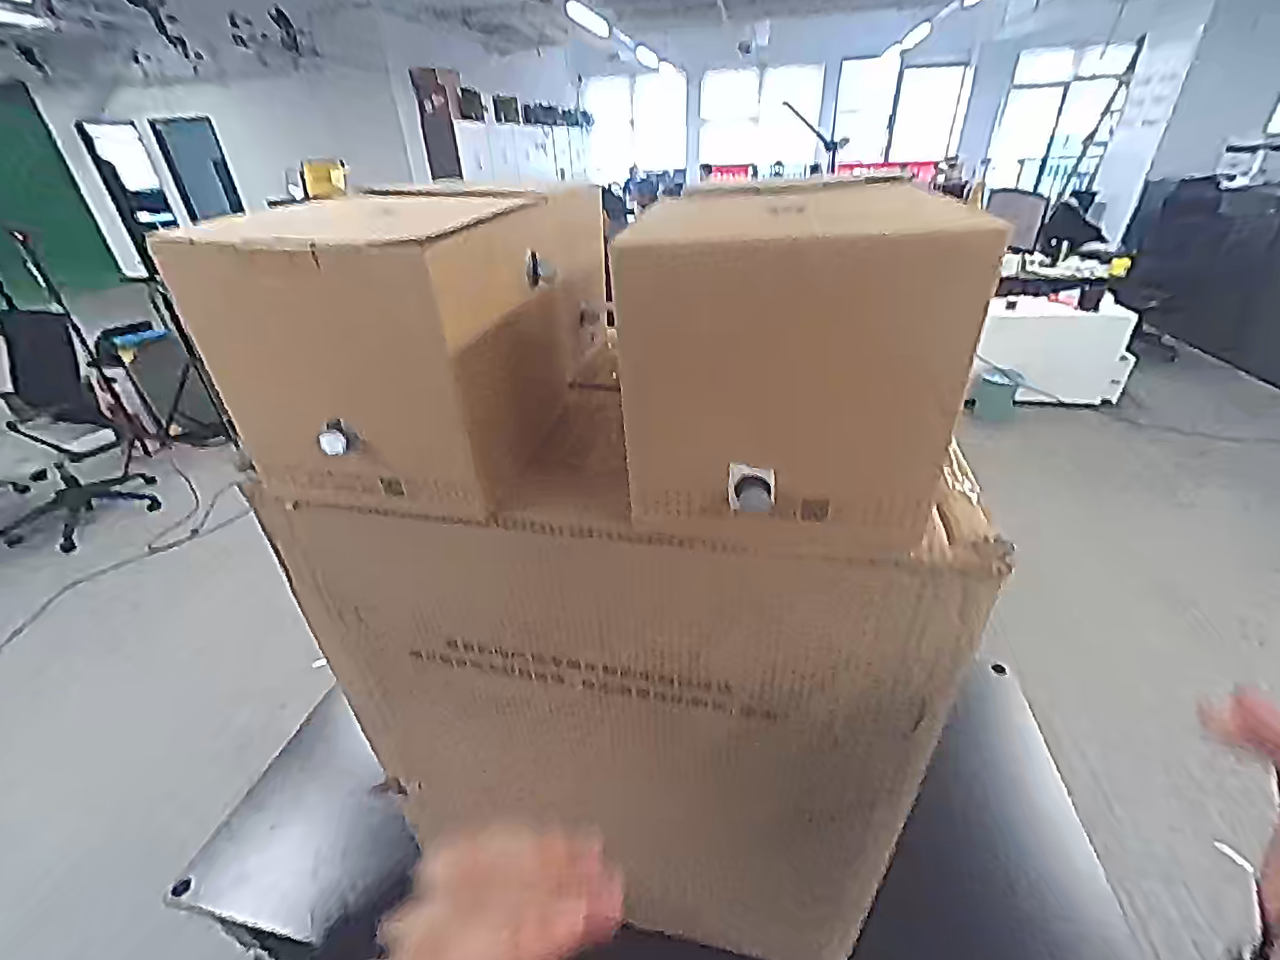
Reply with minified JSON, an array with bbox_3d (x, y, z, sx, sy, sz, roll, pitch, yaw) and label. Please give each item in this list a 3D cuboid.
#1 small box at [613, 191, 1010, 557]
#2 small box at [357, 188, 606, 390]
[{"bbox_3d":[0.086,-0.074,0.338,0.168,0.176,0.179,1,33,10],"label":"small box"},{"bbox_3d":[-0.141,-0.198,0.551,0.179,0.176,0.168,6,32,12],"label":"small box"}]
